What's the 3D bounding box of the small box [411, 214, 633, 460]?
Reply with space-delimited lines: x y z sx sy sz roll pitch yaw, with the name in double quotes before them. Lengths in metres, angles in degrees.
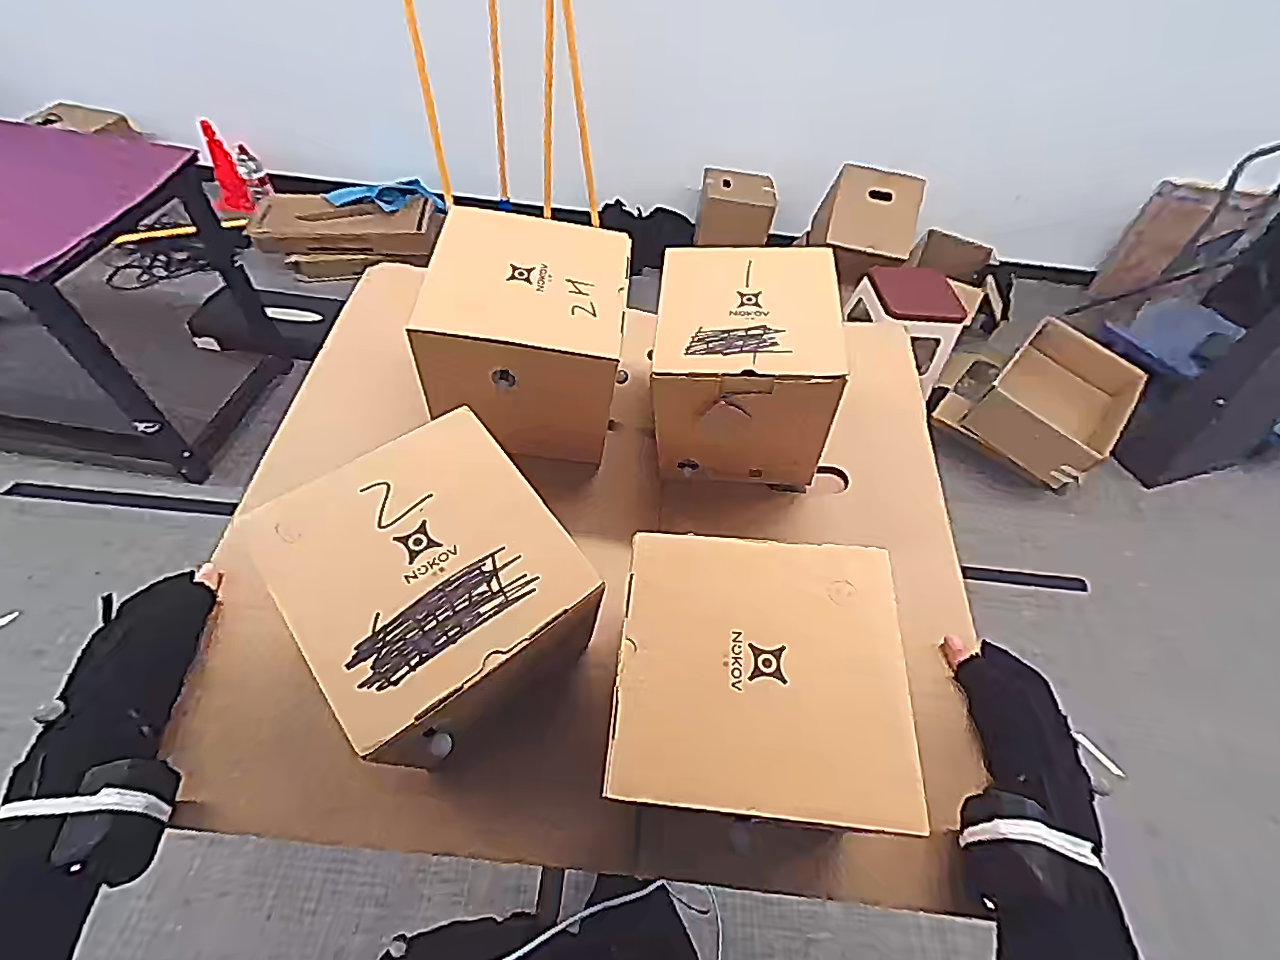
"small box" -0.110 -0.137 0.557 0.179 0.176 0.168 8 59 -7
